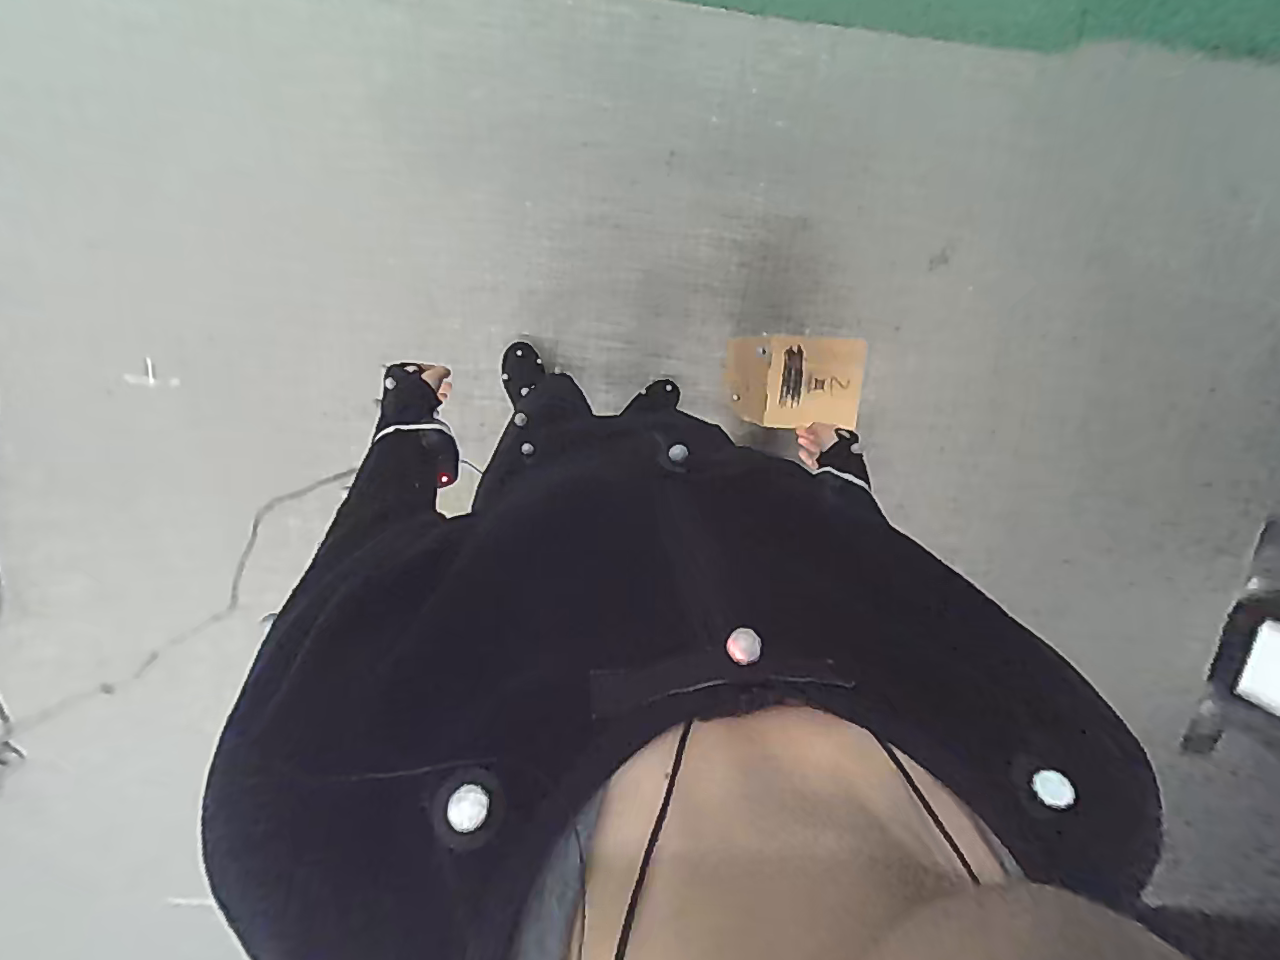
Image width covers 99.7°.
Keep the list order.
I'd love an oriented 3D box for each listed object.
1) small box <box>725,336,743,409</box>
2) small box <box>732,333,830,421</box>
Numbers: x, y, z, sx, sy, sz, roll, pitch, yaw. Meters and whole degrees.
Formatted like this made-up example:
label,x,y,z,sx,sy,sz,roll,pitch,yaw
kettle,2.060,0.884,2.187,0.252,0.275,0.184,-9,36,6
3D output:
label,x,y,z,sx,sy,sz,roll,pitch,yaw
small box,0.315,-0.270,1.371,0.168,0.176,0.179,2,102,-2
small box,0.306,-0.231,1.213,0.168,0.176,0.179,3,102,-2
